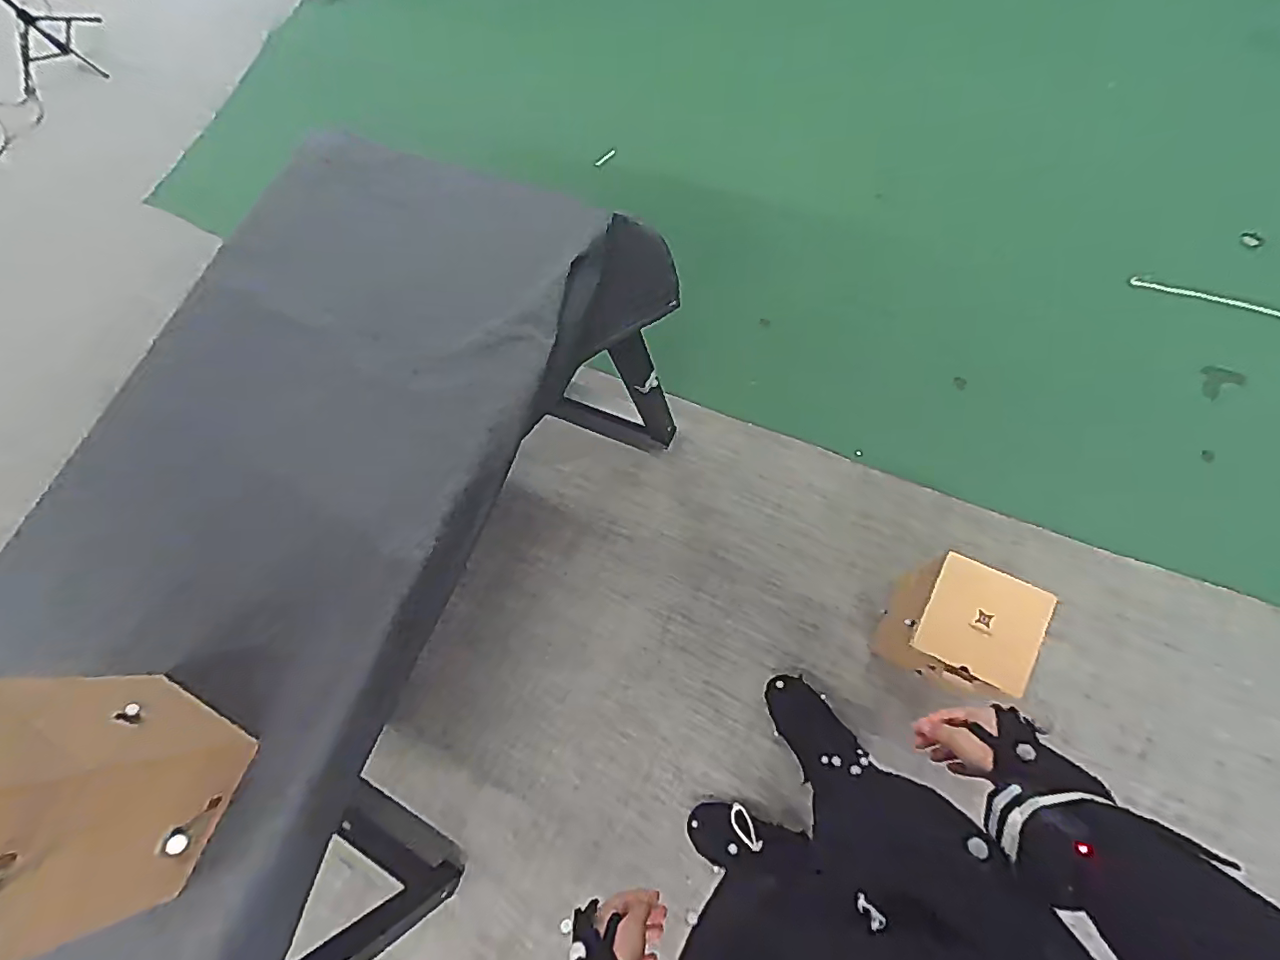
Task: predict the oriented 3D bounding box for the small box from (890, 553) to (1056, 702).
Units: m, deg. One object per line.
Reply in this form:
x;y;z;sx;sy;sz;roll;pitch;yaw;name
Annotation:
0.548;0.248;0.916;0.168;0.176;0.179;25;79;18;small box

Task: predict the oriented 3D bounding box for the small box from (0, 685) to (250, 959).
-0.540;0.311;0.518;0.179;0.176;0.168;20;78;17;small box

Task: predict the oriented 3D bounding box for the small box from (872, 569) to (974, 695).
0.577;0.299;1.069;0.168;0.176;0.179;23;79;18;small box
